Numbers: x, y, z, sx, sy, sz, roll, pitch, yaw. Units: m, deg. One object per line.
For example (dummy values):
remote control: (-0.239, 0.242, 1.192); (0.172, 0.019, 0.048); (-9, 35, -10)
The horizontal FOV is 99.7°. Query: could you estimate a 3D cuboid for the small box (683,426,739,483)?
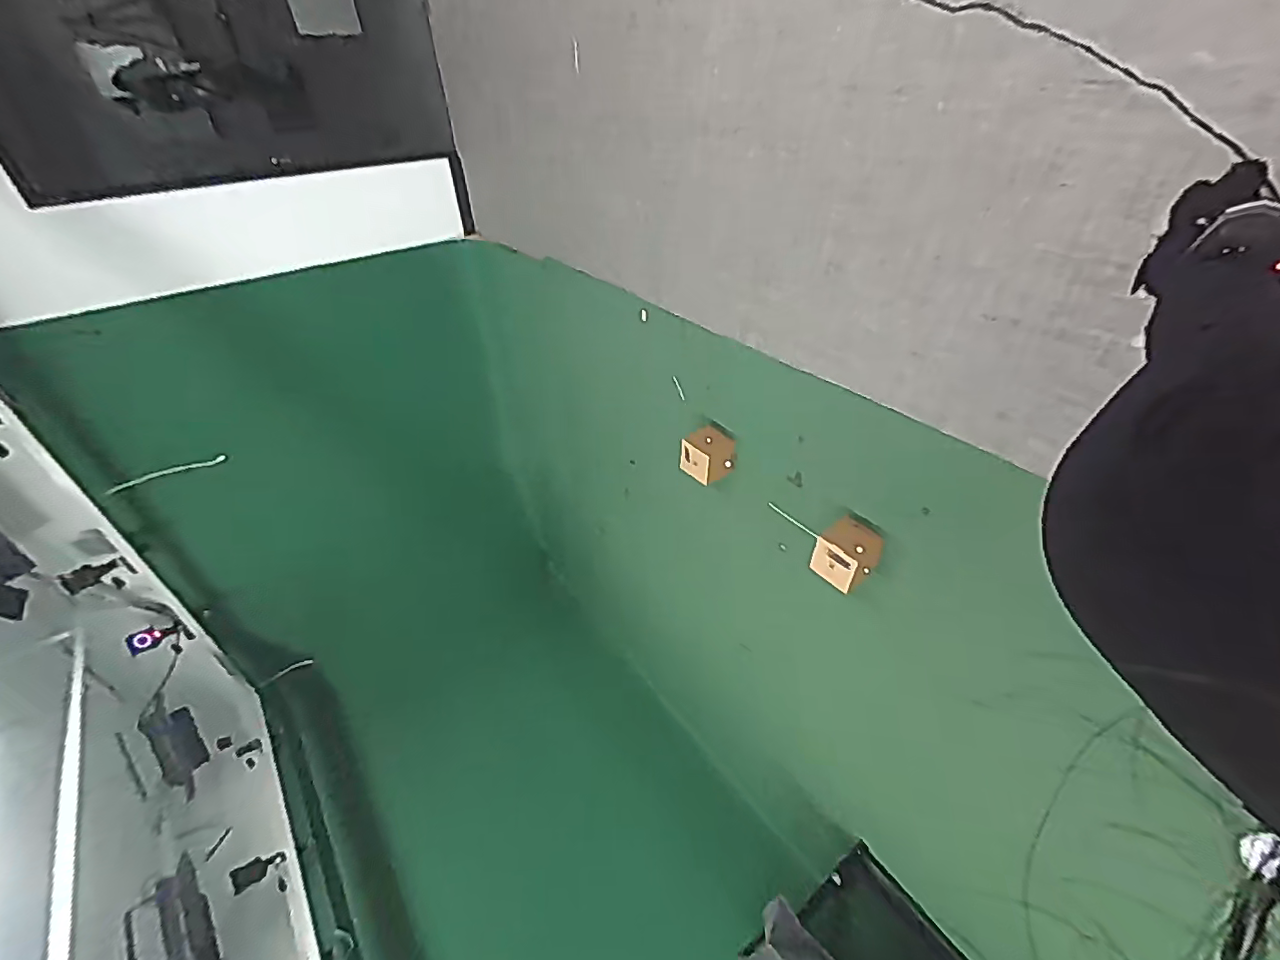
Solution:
small box: (0.313, -0.122, 2.397); (0.179, 0.176, 0.168); (38, 144, 37)
